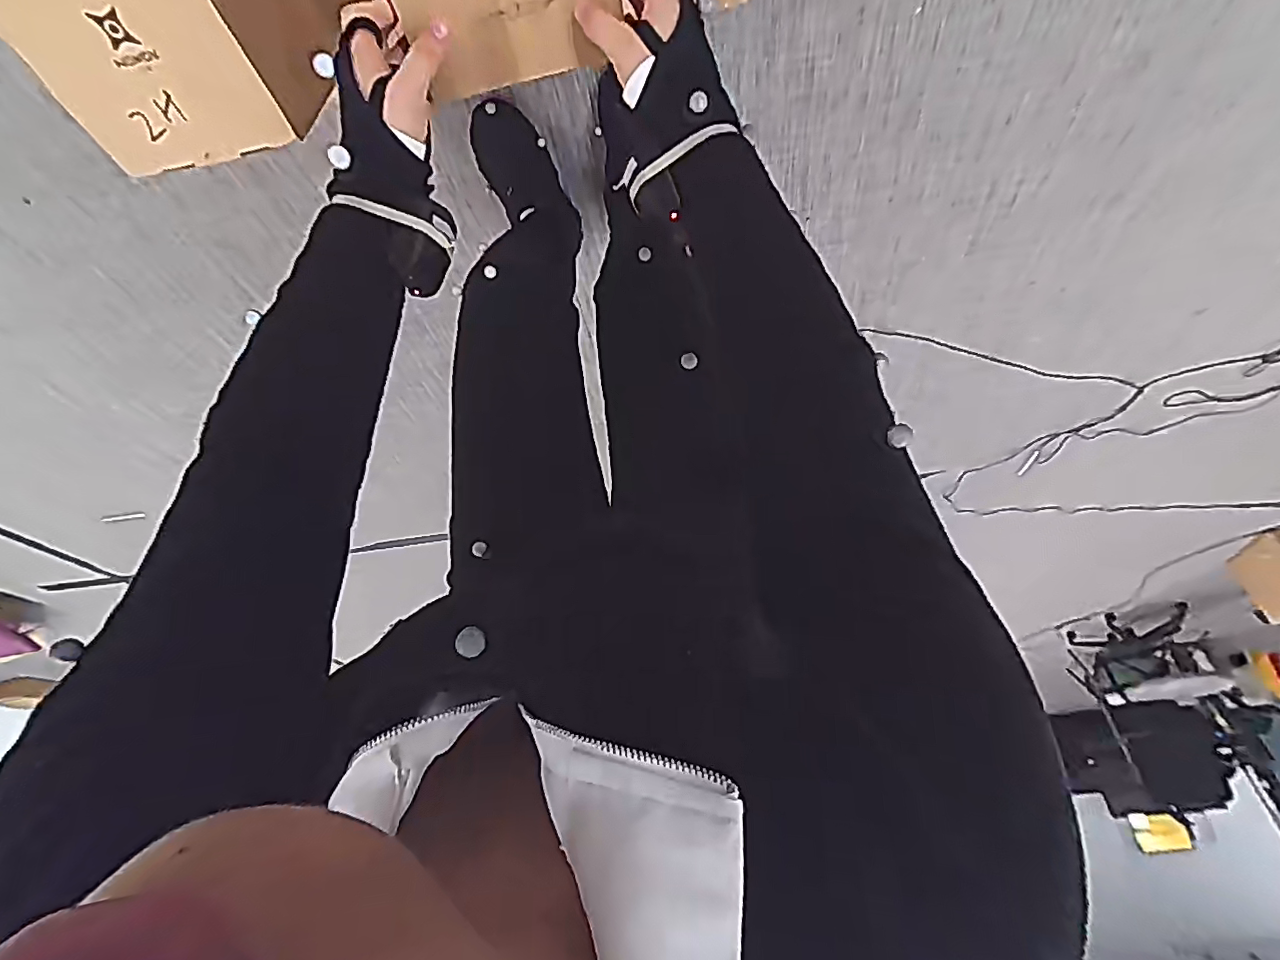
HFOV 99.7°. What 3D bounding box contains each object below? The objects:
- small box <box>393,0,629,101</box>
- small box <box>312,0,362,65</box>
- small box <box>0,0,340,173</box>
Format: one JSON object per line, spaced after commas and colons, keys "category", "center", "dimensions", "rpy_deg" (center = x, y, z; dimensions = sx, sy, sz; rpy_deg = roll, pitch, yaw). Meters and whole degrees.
{"category": "small box", "center": [-0.109, -0.441, 0.418], "dimensions": [0.168, 0.176, 0.179], "rpy_deg": [-9, 144, 8]}
{"category": "small box", "center": [-0.420, -0.528, 0.551], "dimensions": [0.168, 0.176, 0.179], "rpy_deg": [-9, 147, 7]}
{"category": "small box", "center": [-0.391, -0.398, 0.451], "dimensions": [0.168, 0.176, 0.179], "rpy_deg": [-8, 146, 5]}
